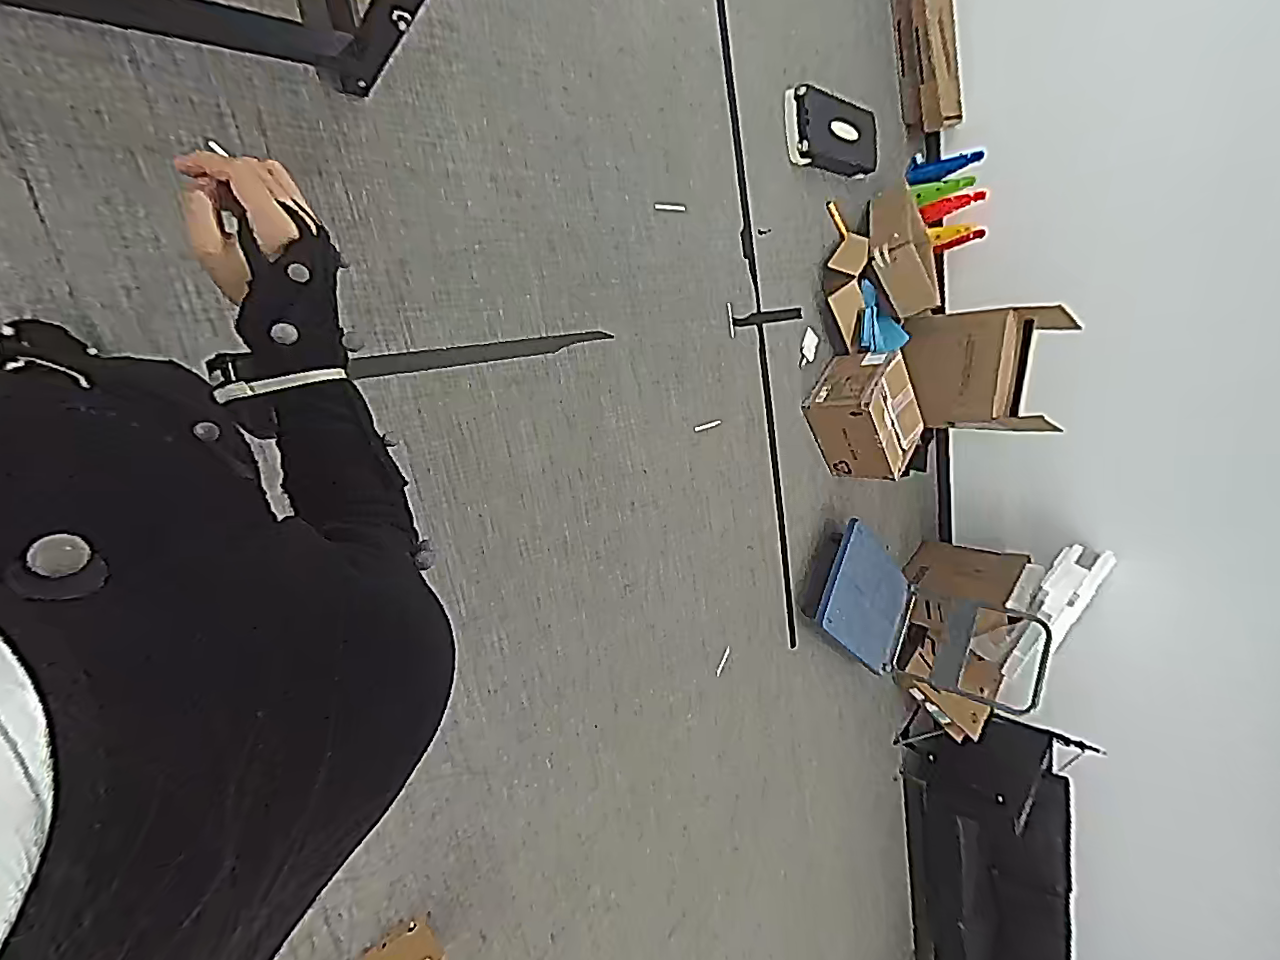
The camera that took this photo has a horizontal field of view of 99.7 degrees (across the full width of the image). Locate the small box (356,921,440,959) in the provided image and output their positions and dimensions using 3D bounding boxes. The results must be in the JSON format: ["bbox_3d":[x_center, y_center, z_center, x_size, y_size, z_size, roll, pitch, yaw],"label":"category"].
[{"bbox_3d":[-0.613,1.293,1.390,0.168,0.176,0.179,-19,108,-40],"label":"small box"}]
